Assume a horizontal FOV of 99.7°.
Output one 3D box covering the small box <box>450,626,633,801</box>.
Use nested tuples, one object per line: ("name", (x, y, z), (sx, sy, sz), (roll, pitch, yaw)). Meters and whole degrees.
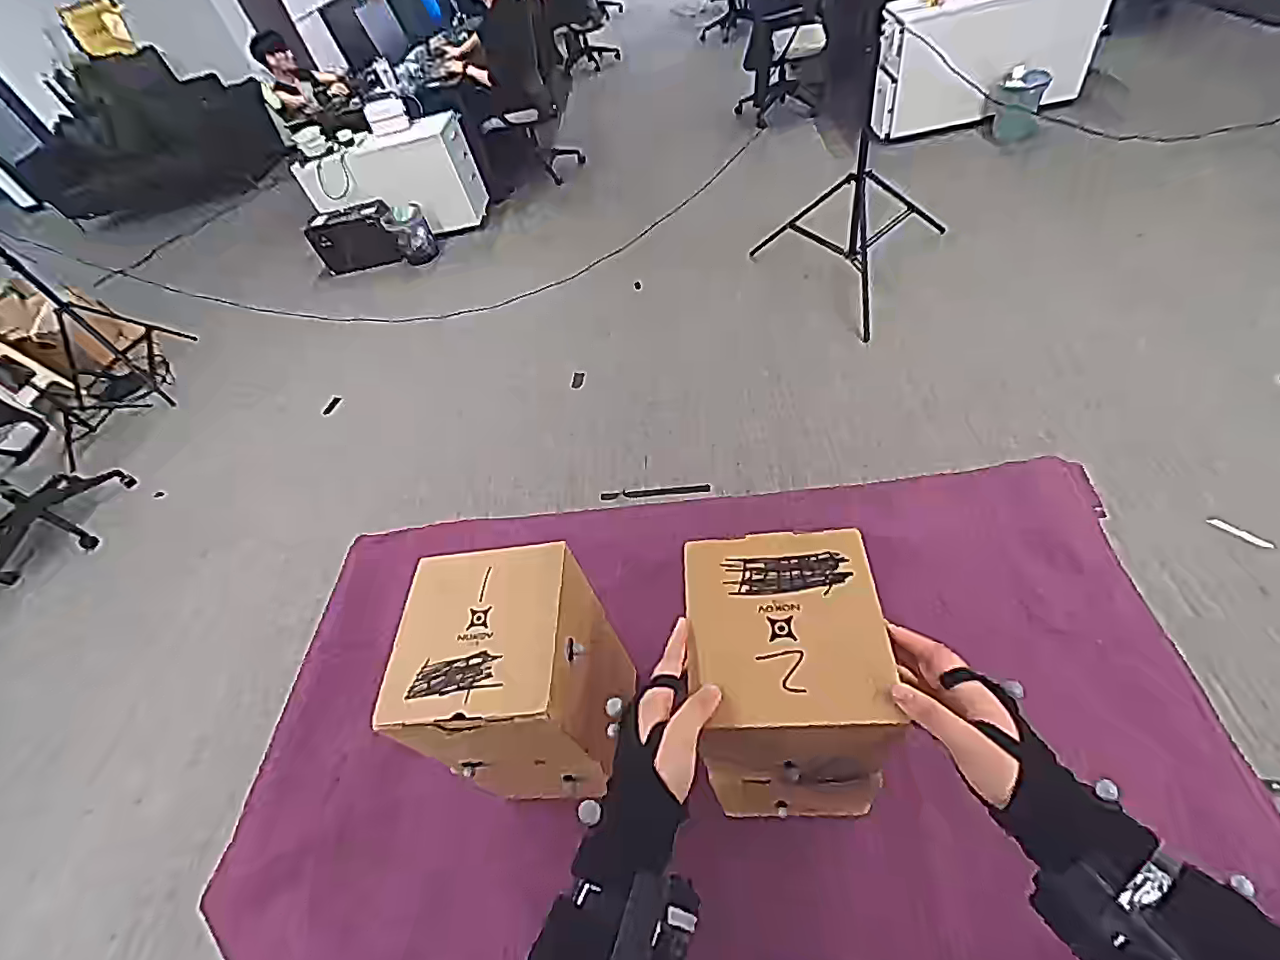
("small box", (-0.109, 0.302, 0.693), (0.179, 0.176, 0.168), (-6, 49, 10))

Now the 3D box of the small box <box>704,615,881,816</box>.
("small box", (0.167, 0.280, 0.638), (0.168, 0.176, 0.179), (-7, 49, 10))

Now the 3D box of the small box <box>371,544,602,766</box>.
("small box", (-0.141, 0.192, 0.574), (0.168, 0.176, 0.179), (-8, 49, 8))
